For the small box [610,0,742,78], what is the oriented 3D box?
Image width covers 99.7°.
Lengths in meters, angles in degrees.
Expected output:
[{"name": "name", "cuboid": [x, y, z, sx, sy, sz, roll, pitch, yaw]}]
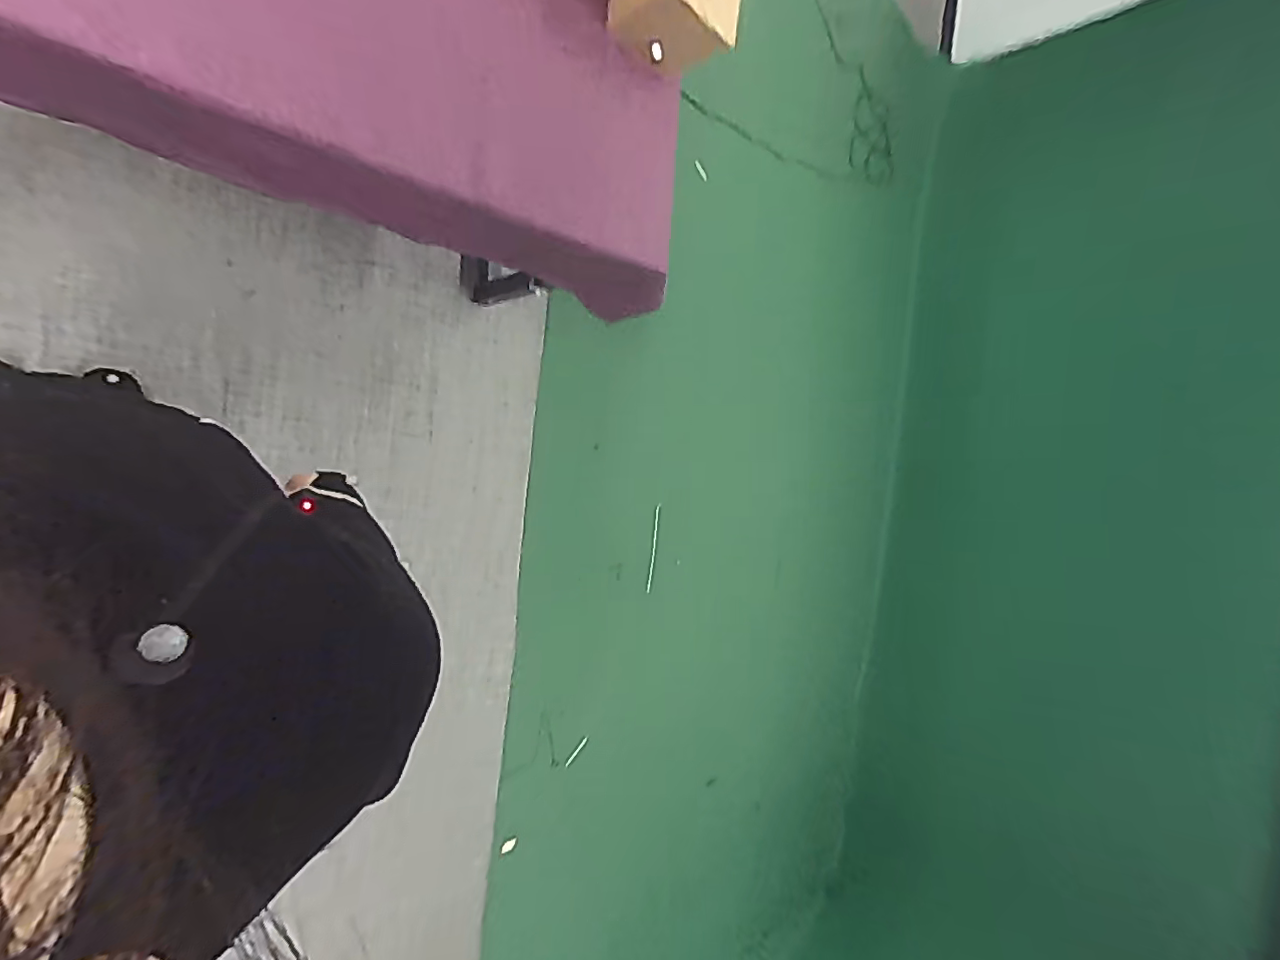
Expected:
[{"name": "small box", "cuboid": [0.065, -0.869, 0.956, 0.168, 0.176, 0.179, 3, 97, -44]}]
